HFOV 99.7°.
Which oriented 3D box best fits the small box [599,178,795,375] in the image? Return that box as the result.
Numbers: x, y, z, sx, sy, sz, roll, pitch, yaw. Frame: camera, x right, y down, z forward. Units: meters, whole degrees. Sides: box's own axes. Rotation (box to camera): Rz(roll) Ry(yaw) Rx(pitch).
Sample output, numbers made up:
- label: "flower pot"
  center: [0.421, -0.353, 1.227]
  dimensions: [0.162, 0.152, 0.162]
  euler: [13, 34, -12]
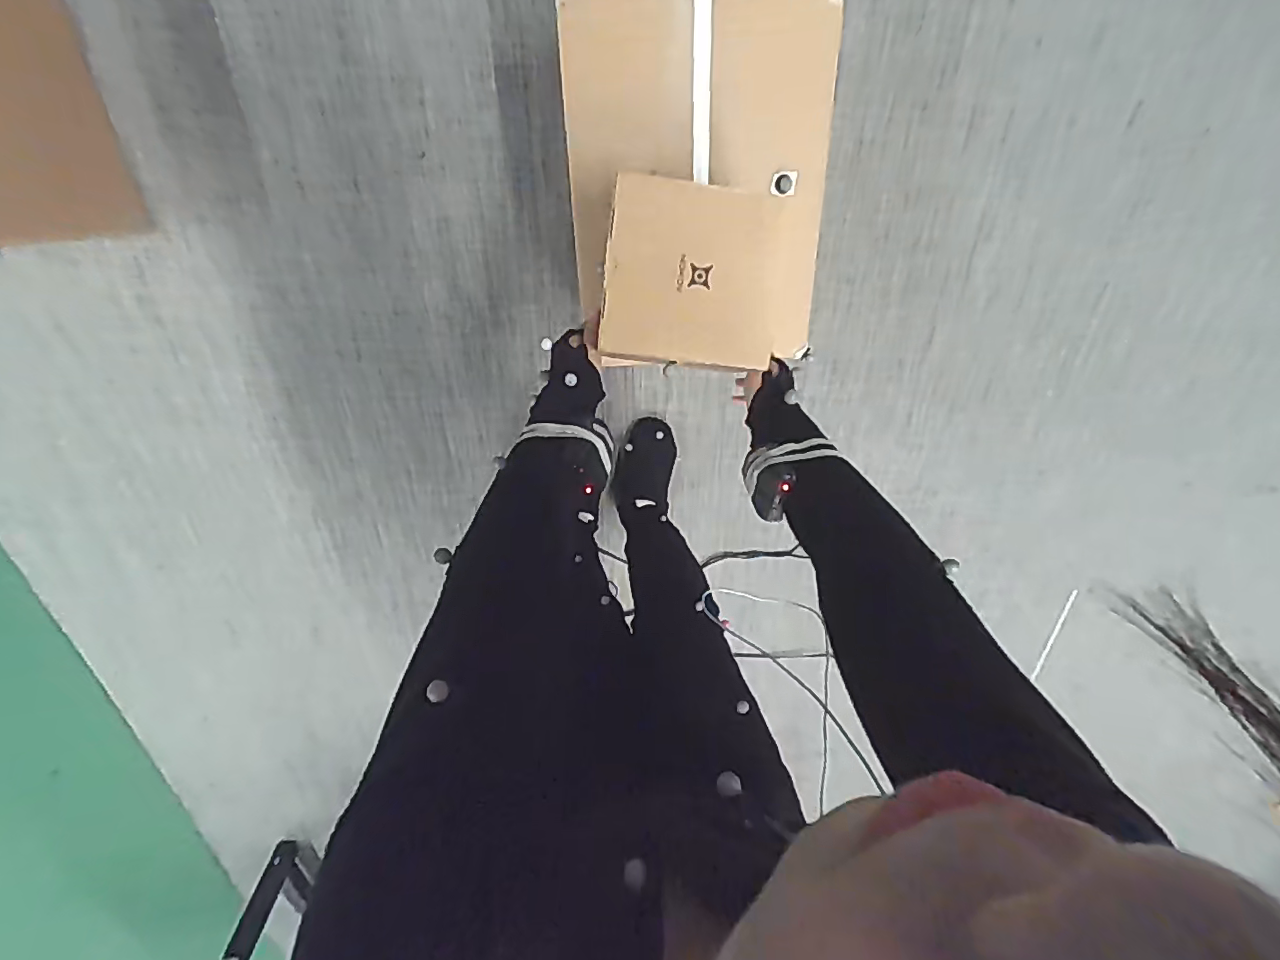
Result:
- label: "small box"
  center: [0.049, -0.214, 0.605]
  dimensions: [0.179, 0.176, 0.168]
  euler: [6, 103, -4]

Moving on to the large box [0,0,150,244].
- label: "large box"
  center: [-0.953, -0.508, 0.667]
  dimensions: [0.320, 0.320, 0.408]
  euler: [-3, 117, -3]
